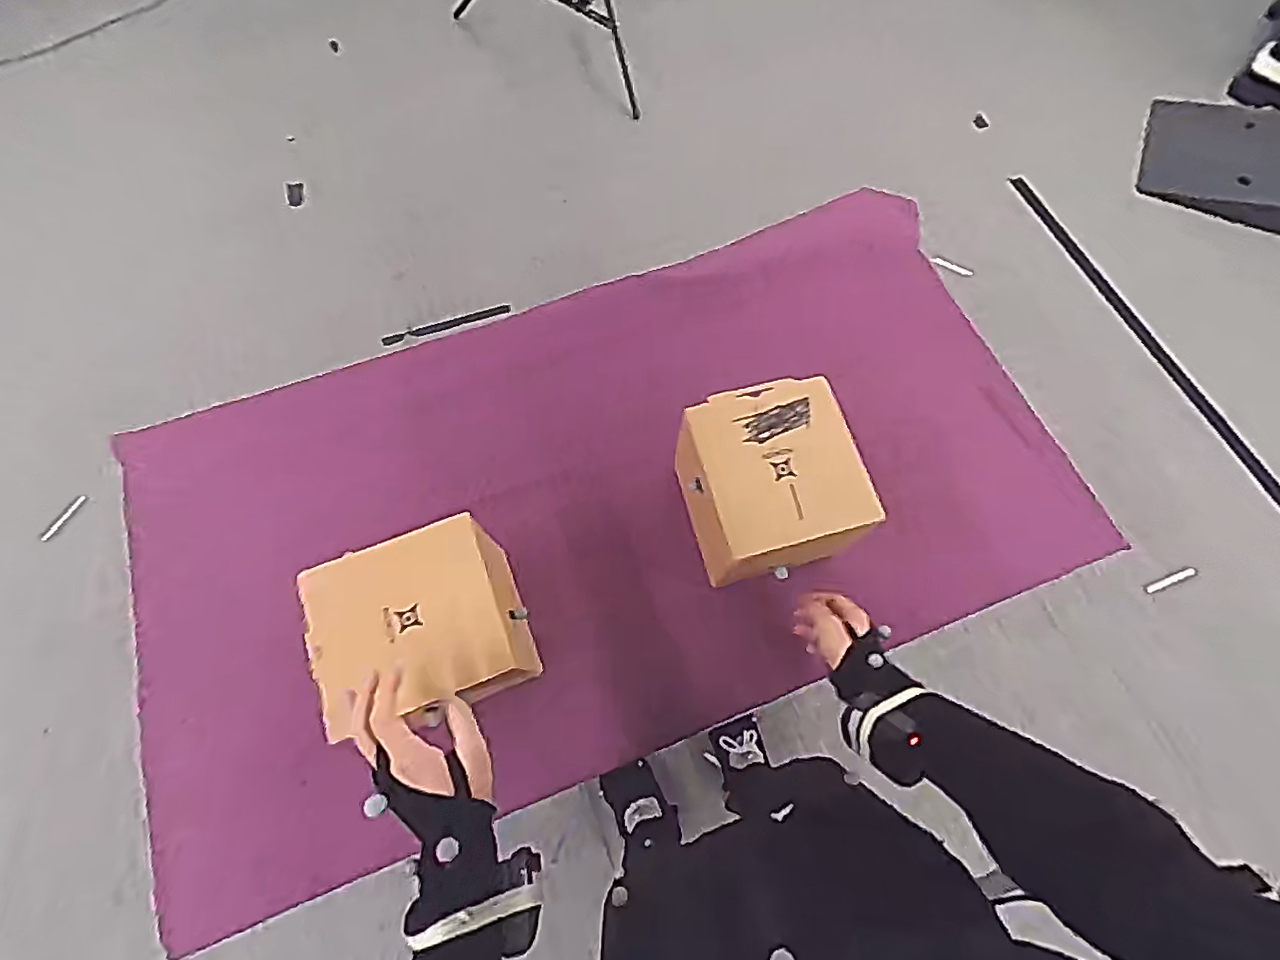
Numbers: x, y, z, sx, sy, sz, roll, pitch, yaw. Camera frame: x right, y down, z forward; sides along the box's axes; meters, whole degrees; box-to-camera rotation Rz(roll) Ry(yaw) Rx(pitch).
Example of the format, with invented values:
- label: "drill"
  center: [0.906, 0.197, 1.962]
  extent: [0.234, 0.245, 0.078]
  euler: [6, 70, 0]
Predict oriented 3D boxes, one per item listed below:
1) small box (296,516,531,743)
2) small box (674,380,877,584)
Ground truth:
- label: "small box"
  center: [-0.229, 0.161, 0.593]
  extent: [0.179, 0.176, 0.168]
  euler: [-21, 71, -7]
- label: "small box"
  center: [0.143, 0.011, 0.647]
  extent: [0.168, 0.176, 0.179]
  euler: [-14, 71, -5]
